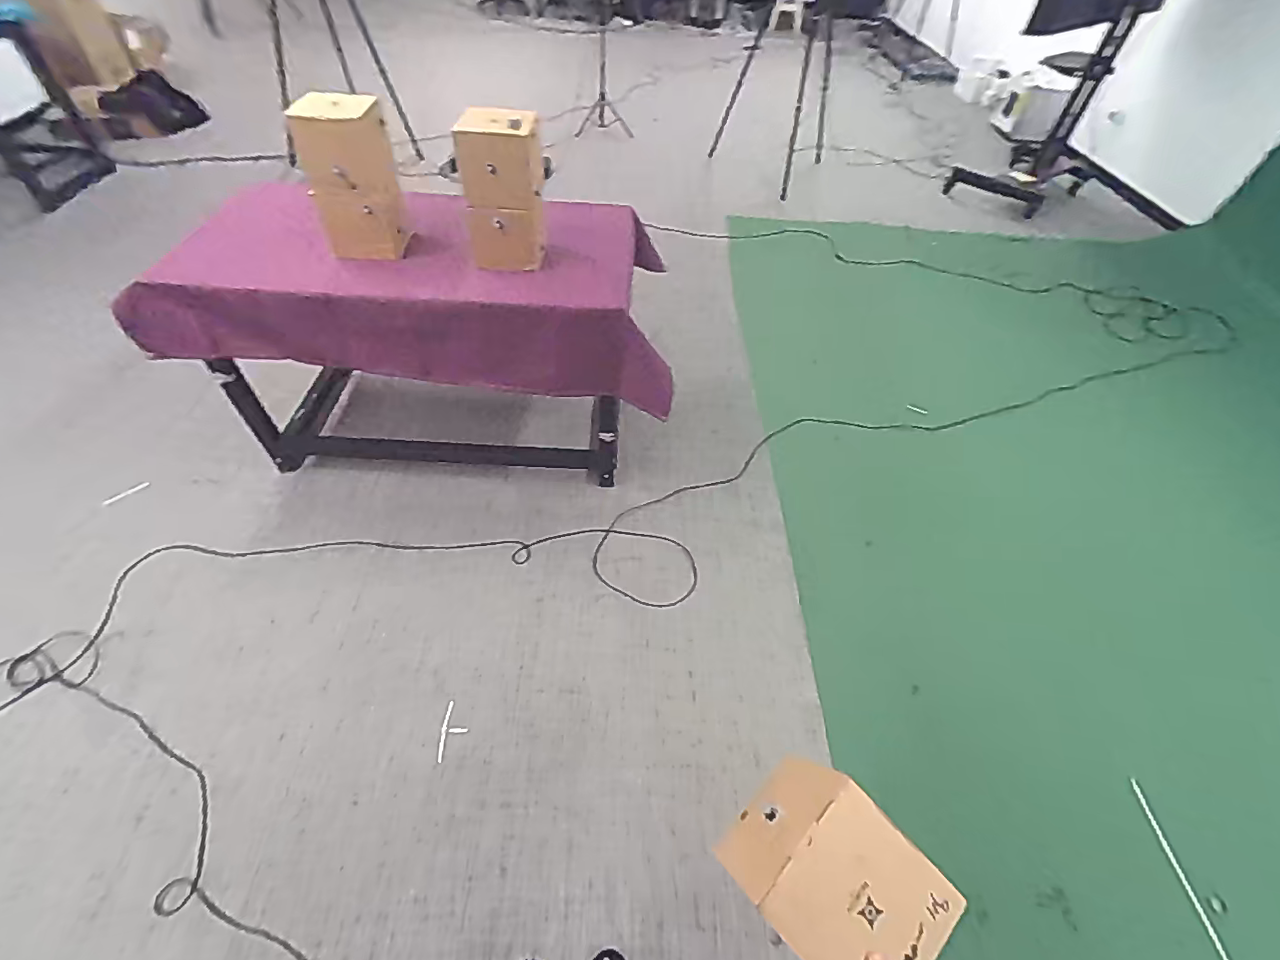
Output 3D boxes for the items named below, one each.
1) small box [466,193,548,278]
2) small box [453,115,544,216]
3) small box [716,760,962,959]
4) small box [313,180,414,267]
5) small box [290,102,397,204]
[{"bbox_3d":[-0.350,-0.664,1.456,0.179,0.176,0.168,4,50,-2],"label":"small box"},{"bbox_3d":[-0.337,-0.769,1.331,0.179,0.176,0.168,3,50,-1],"label":"small box"},{"bbox_3d":[0.217,0.460,0.636,0.168,0.176,0.179,-42,83,-19],"label":"small box"},{"bbox_3d":[-0.733,-0.691,1.455,0.179,0.176,0.168,0,49,-5],"label":"small box"},{"bbox_3d":[-0.718,-0.807,1.337,0.168,0.176,0.179,0,49,-4],"label":"small box"}]
